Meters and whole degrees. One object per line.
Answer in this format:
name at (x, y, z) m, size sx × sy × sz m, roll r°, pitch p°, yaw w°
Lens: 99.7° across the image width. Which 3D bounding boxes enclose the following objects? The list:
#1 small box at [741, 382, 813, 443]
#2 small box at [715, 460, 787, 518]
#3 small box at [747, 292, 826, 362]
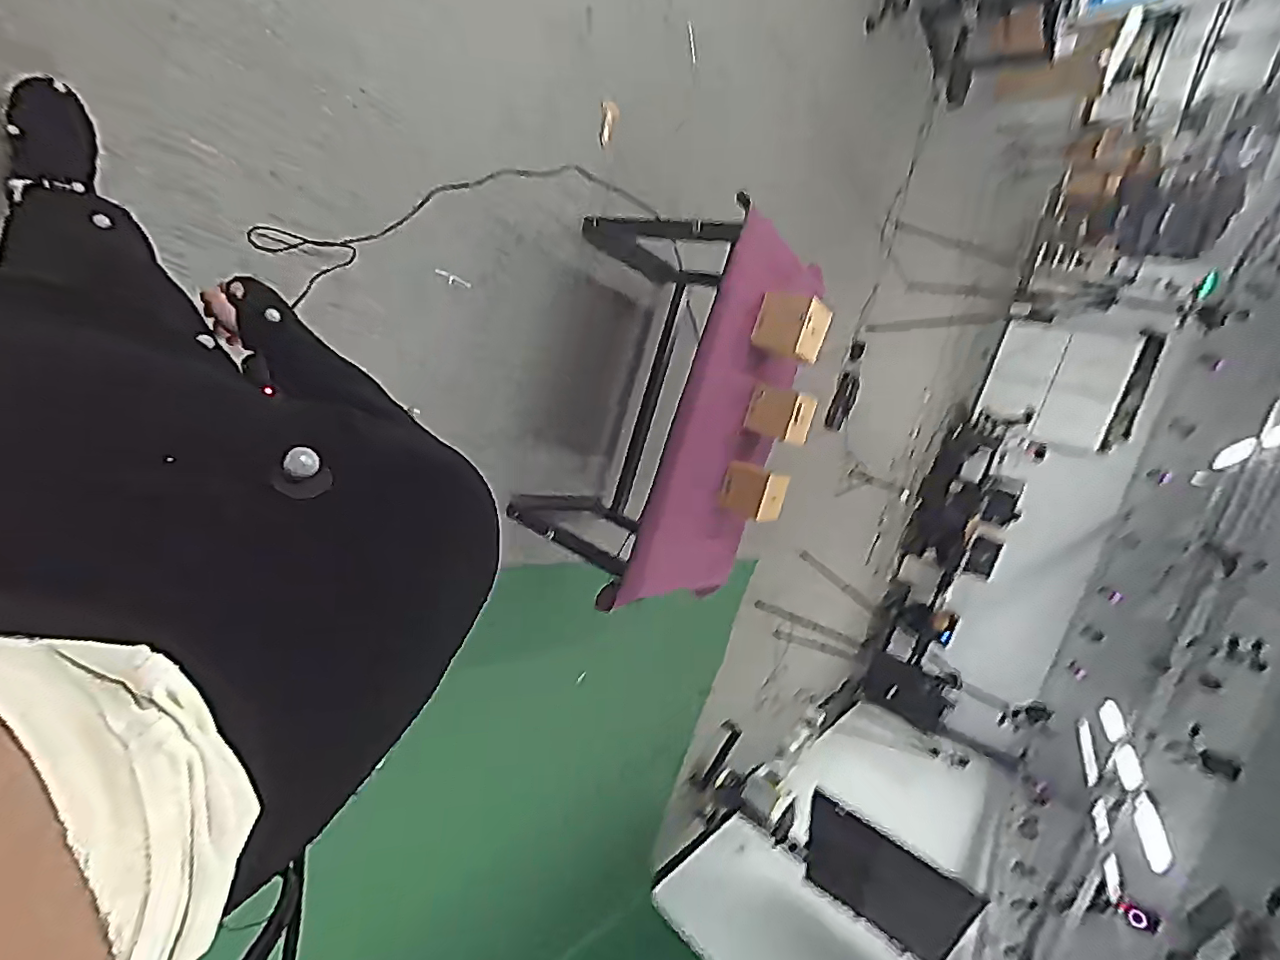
small box at (0.479, -0.239, 1.899) m, size 0.179 × 0.176 × 0.168 m, roll 5°, pitch 104°, yaw -53°
small box at (0.397, 0.031, 1.937) m, size 0.179 × 0.176 × 0.168 m, roll 5°, pitch 103°, yaw -52°
small box at (0.475, -0.500, 1.759) m, size 0.179 × 0.176 × 0.168 m, roll 8°, pitch 102°, yaw -53°
